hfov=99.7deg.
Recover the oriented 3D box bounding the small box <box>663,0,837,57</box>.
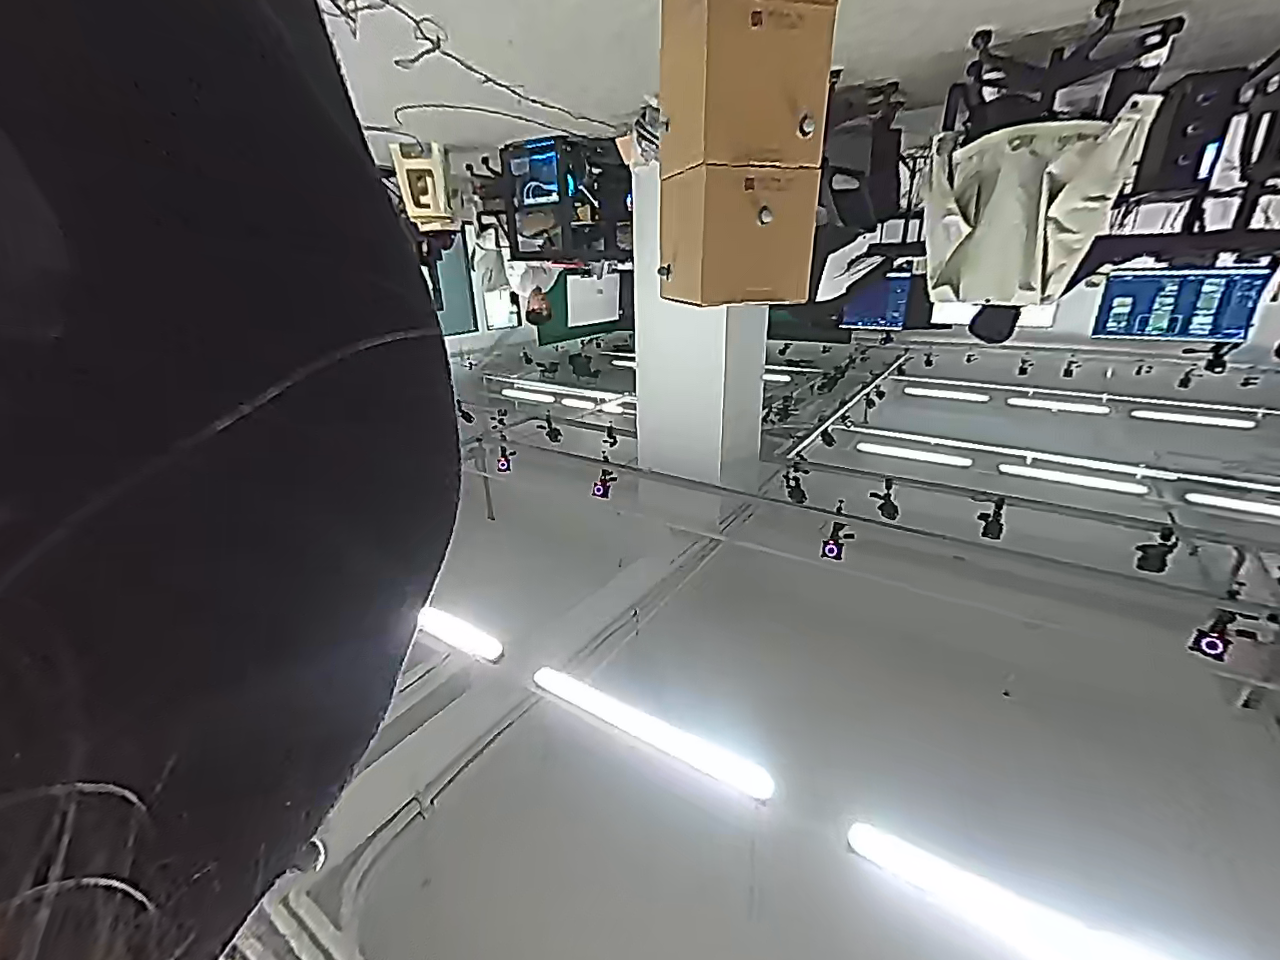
[{"bbox_3d":[0.130,-0.654,0.664,0.168,0.176,0.179,-7,-156,-15],"label":"small box"}]

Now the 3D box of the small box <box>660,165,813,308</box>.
[{"bbox_3d":[0.135,-0.350,0.789,0.168,0.176,0.179,-8,-156,-15],"label":"small box"}]
